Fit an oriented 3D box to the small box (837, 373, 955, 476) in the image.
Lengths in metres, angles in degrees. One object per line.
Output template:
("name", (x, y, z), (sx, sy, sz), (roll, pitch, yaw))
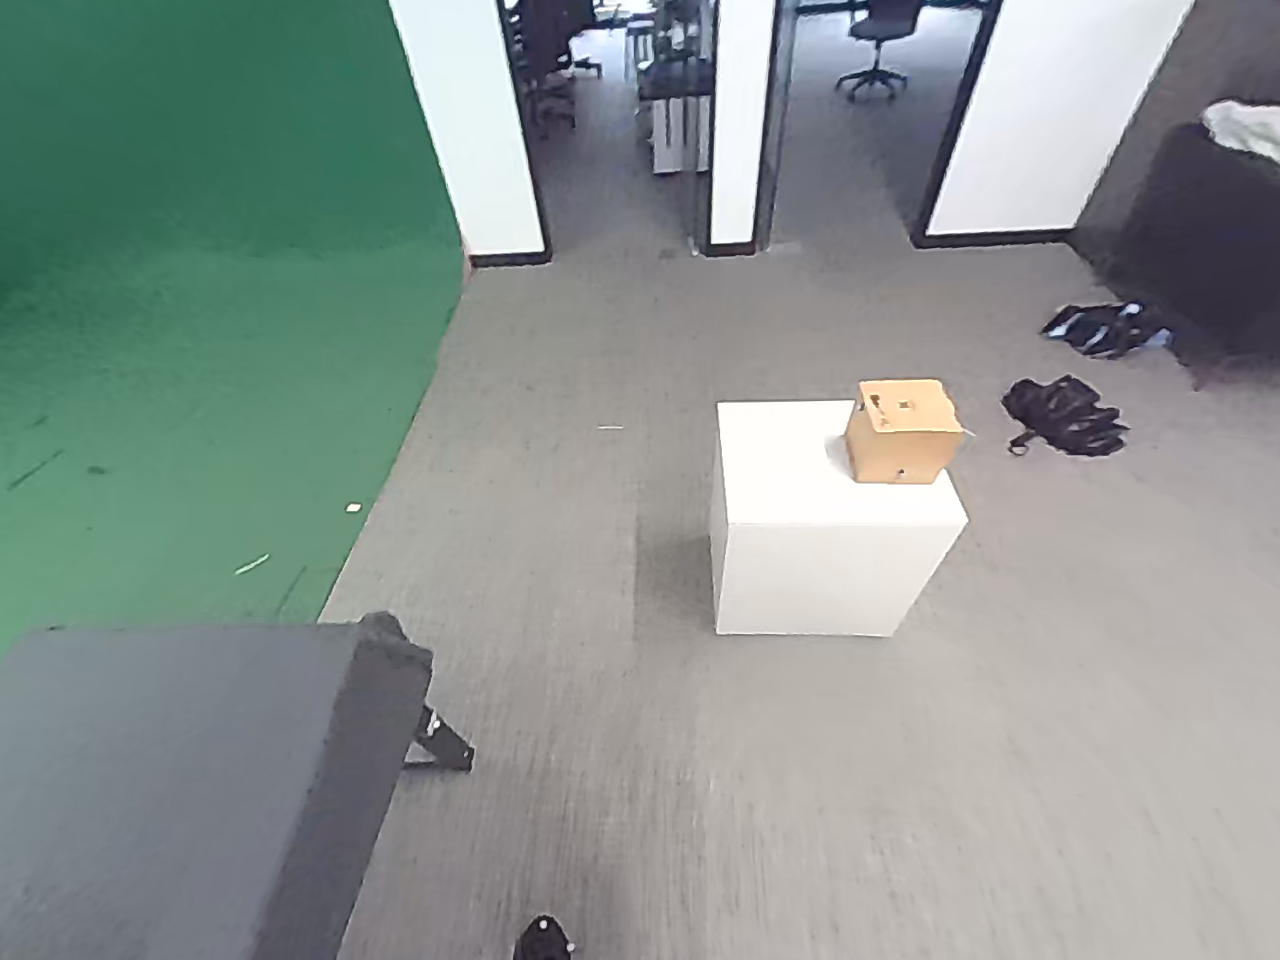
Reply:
("small box", (0.566, -0.122, 1.219), (0.179, 0.176, 0.168), (1, 50, 3))
